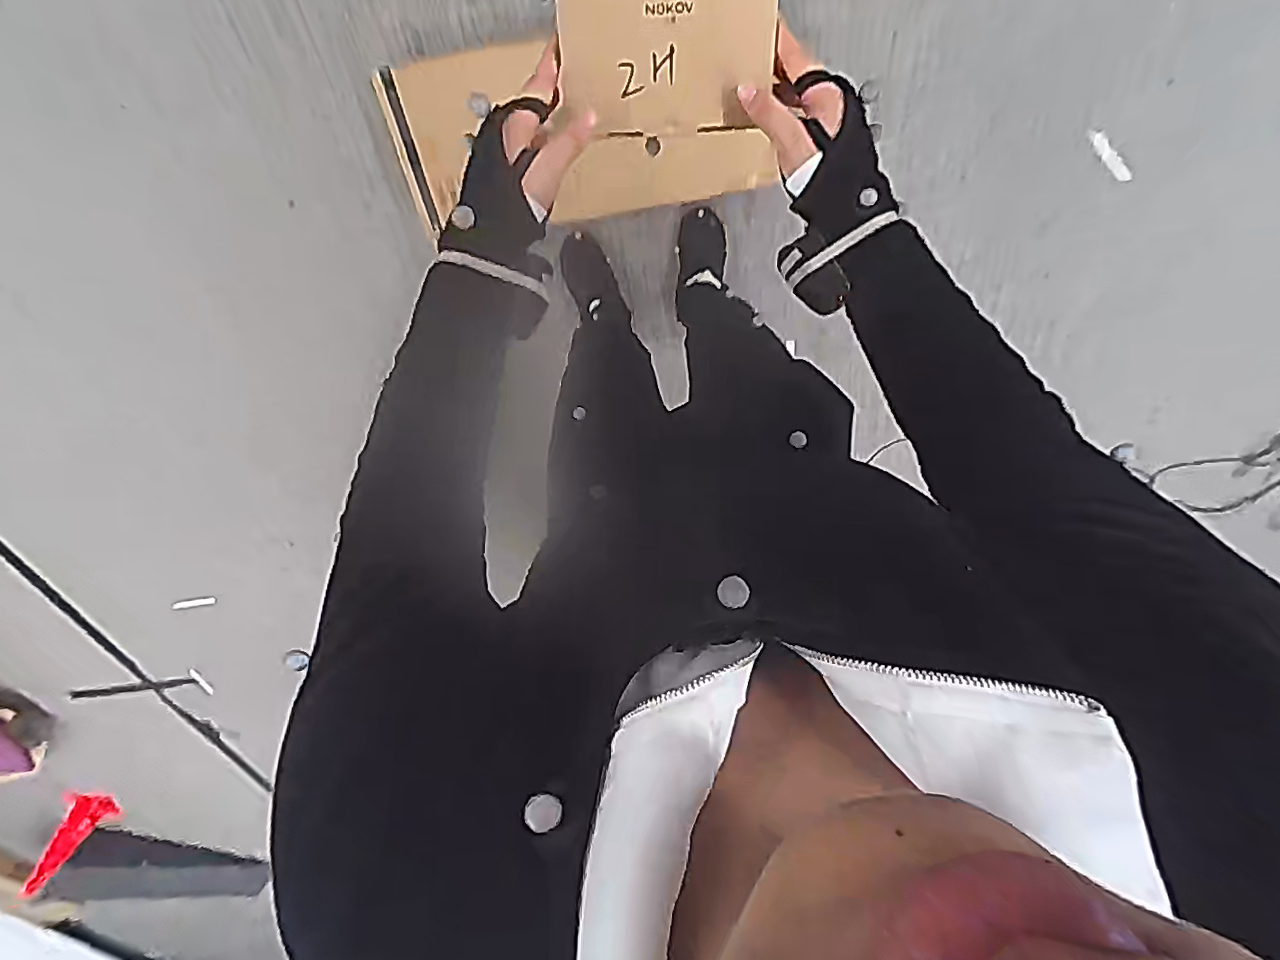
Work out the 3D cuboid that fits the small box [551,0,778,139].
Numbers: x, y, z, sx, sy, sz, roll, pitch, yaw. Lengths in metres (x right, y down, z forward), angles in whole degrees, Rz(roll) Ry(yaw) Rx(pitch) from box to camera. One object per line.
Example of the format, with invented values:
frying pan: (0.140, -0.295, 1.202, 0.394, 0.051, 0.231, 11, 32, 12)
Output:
small box: (0.010, -0.391, 0.448, 0.168, 0.176, 0.179, -5, 122, -4)
